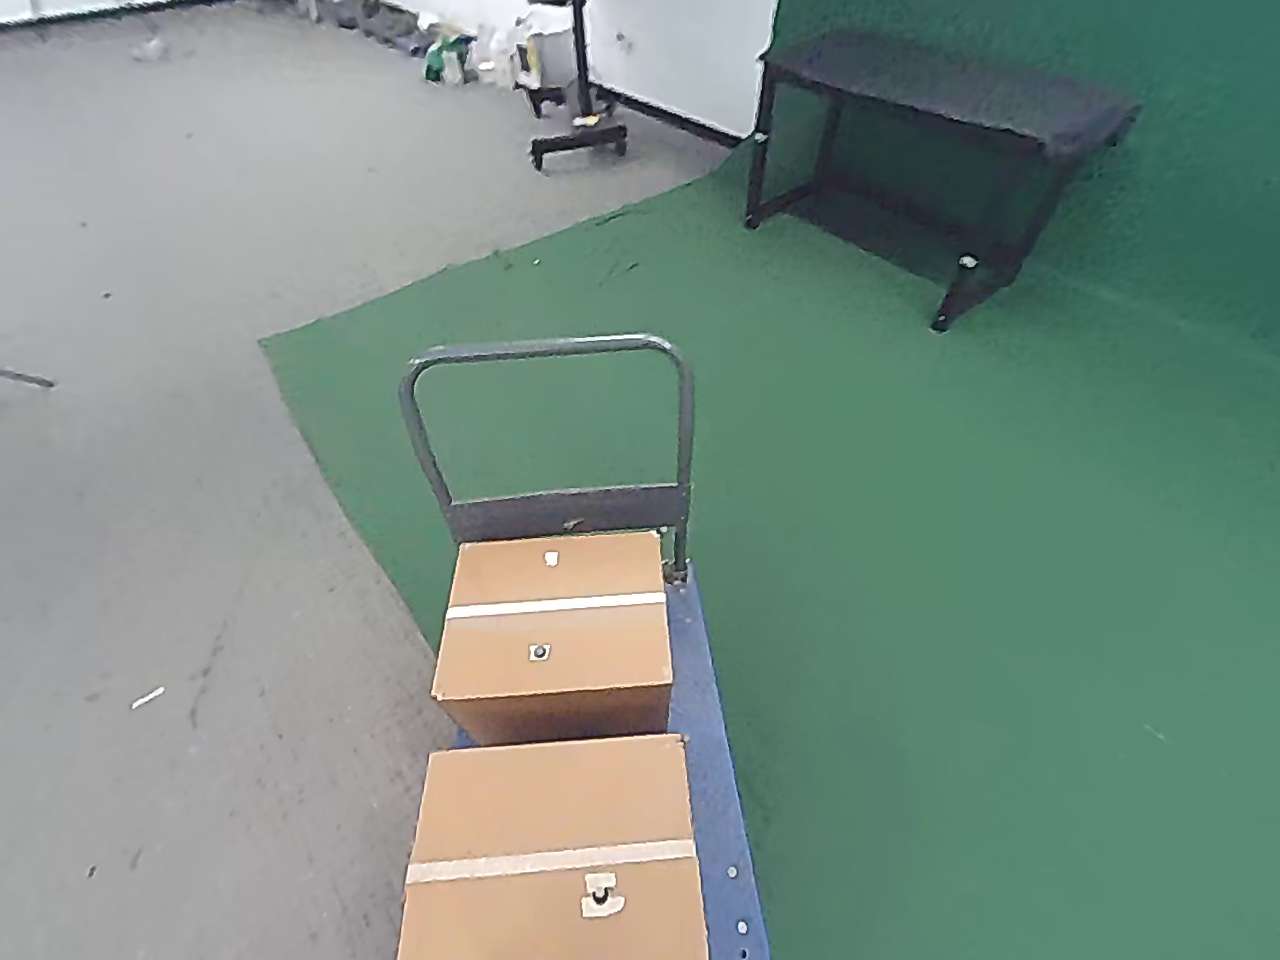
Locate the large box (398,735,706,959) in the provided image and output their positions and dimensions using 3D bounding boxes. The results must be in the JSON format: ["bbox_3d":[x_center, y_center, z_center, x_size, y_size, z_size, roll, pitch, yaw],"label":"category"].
[{"bbox_3d":[-0.125,0.641,0.879,0.408,0.320,0.320,-2,49,-3],"label":"large box"}]
